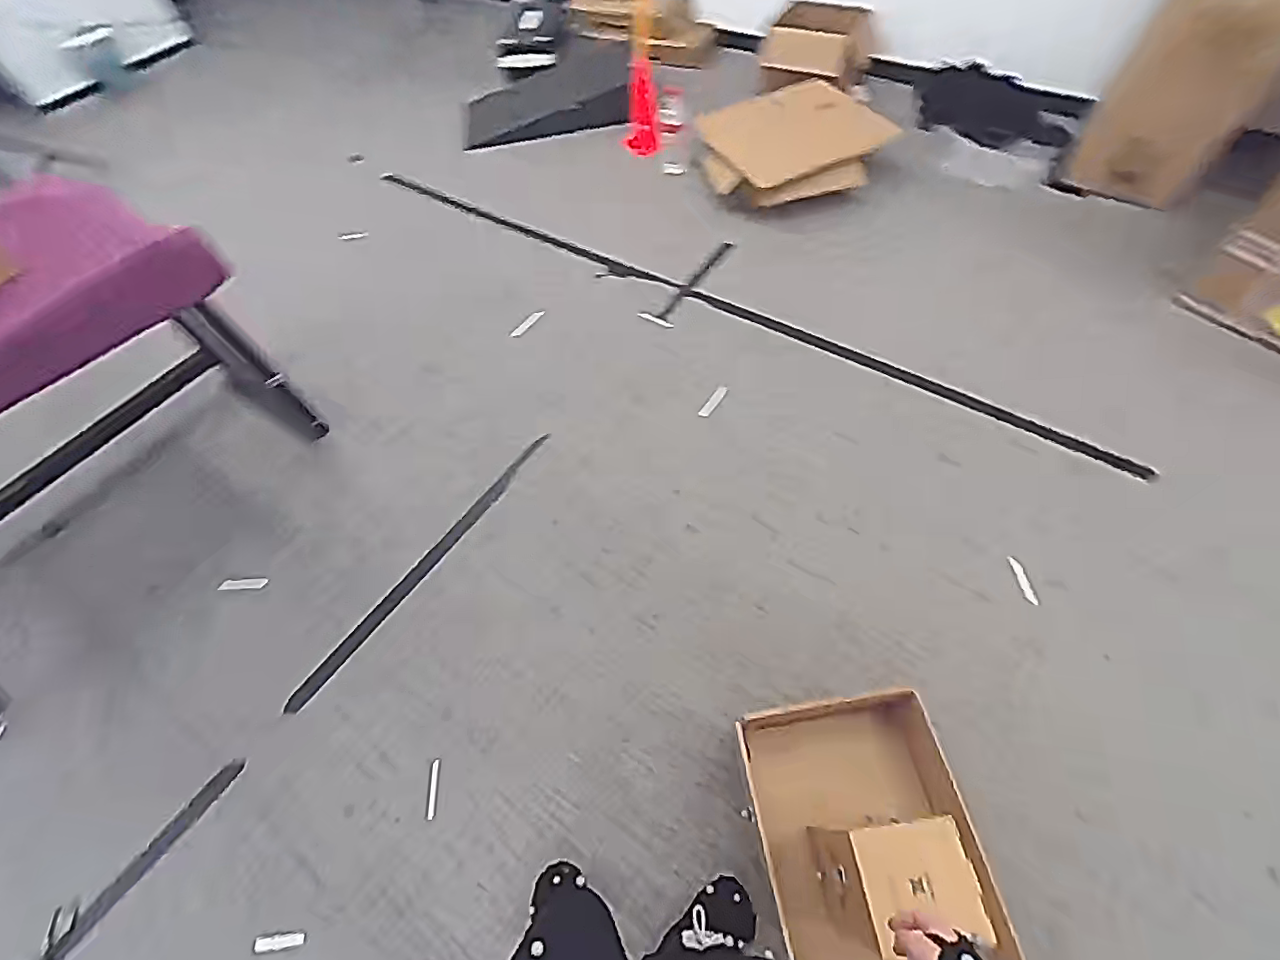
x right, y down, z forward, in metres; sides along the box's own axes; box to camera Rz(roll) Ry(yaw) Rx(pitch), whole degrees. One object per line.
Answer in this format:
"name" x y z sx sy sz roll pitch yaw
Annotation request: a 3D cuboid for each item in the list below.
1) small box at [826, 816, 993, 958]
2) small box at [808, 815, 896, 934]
"small box" 0.435 0.669 0.908 0.179 0.176 0.168 -8 58 0
"small box" 0.444 0.753 1.046 0.179 0.176 0.168 -6 58 1
